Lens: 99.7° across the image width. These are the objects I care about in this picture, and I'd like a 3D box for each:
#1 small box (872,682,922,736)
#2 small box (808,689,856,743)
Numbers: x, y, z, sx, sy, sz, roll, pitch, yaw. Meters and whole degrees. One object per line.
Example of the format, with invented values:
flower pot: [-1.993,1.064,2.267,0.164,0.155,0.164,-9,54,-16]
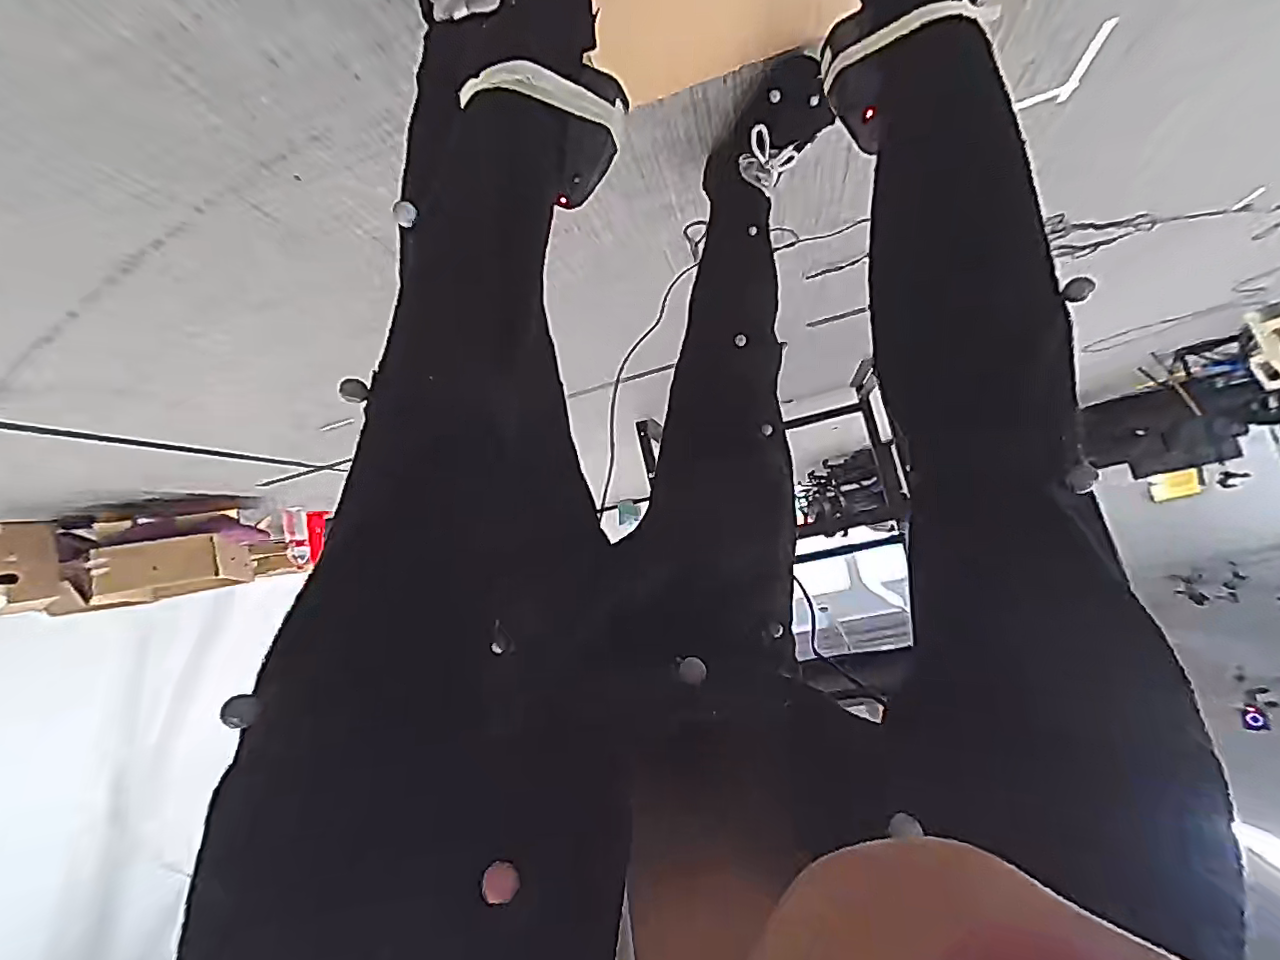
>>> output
small box: [1.151,1.024,2.429,0.168,0.176,0.179,-16,173,21]
small box: [0.886,1.093,2.511,0.168,0.176,0.179,-14,174,13]
